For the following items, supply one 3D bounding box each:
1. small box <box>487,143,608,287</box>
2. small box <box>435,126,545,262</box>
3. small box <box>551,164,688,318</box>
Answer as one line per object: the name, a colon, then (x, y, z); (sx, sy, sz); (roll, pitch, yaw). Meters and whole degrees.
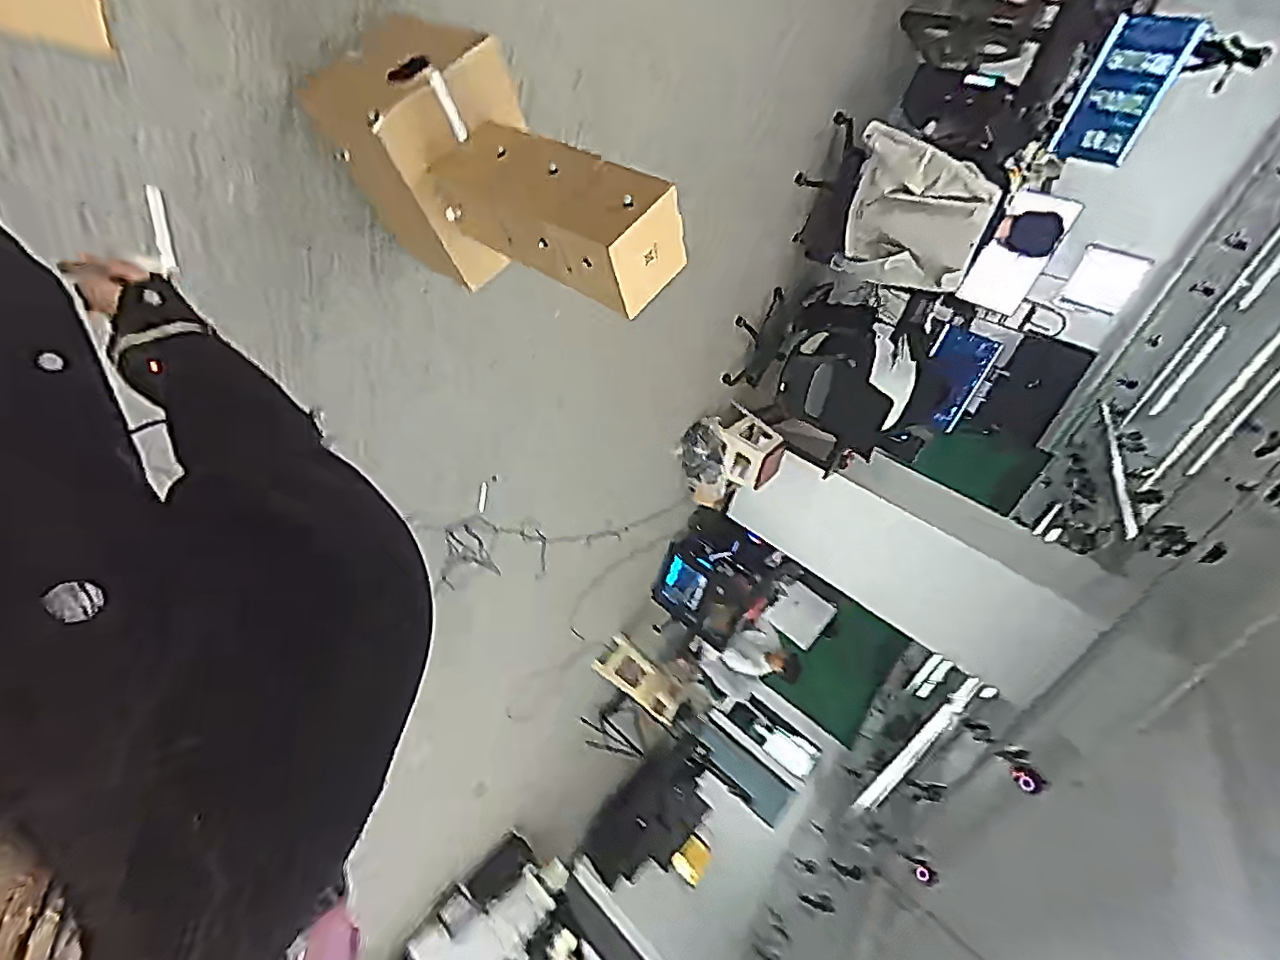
small box: (-0.160, -0.520, 1.053); (0.179, 0.176, 0.168); (-50, 153, -14)
small box: (-0.285, -0.599, 1.125); (0.179, 0.176, 0.168); (-49, 153, -14)
small box: (-0.039, -0.436, 0.984); (0.179, 0.176, 0.168); (-50, 153, -14)
